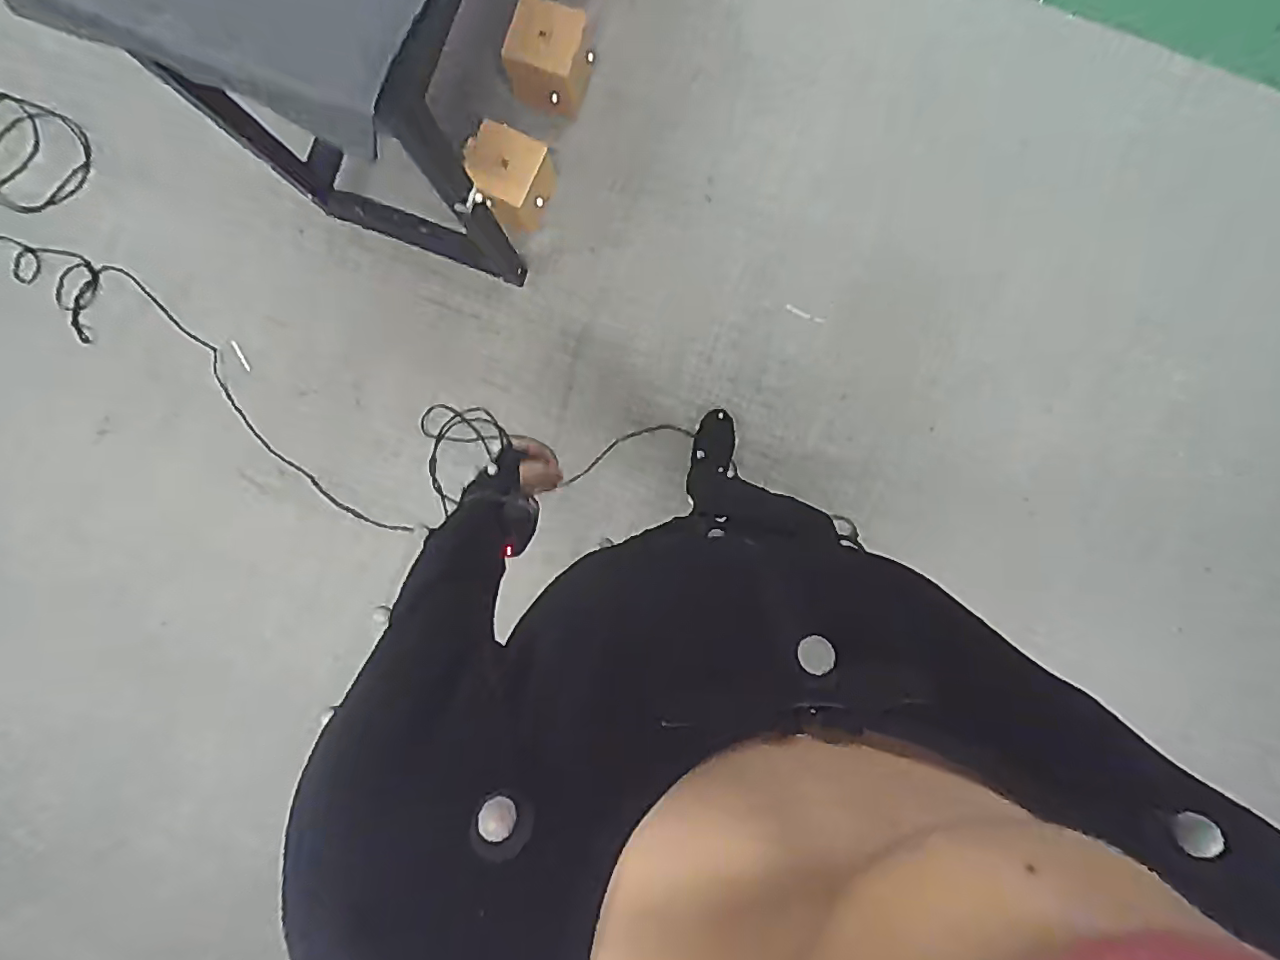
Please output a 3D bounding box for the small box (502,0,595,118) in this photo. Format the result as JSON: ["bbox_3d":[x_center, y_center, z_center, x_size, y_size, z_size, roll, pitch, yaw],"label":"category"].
[{"bbox_3d":[-0.224,-1.069,1.378,0.179,0.176,0.168,19,90,2],"label":"small box"}]

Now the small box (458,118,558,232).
[{"bbox_3d":[-0.329,-0.768,1.386,0.179,0.176,0.168,26,91,1],"label":"small box"}]
